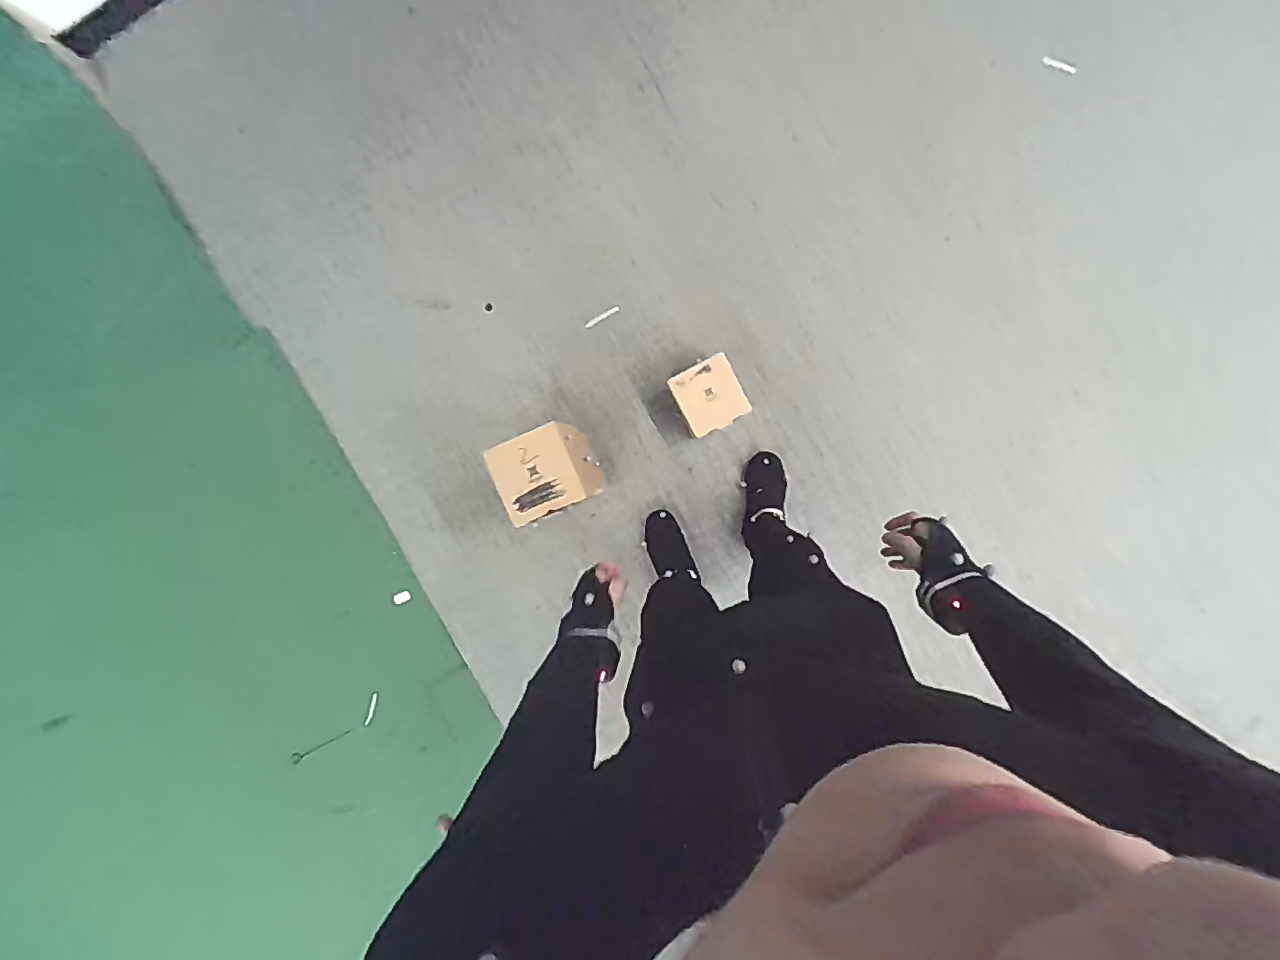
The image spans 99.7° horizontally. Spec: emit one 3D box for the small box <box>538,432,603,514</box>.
[{"bbox_3d":[-0.213,-0.024,1.506,0.168,0.176,0.179,-24,91,3],"label":"small box"}]

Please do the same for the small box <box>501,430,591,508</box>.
[{"bbox_3d":[-0.229,-0.031,1.351,0.179,0.176,0.168,8,95,2],"label":"small box"}]

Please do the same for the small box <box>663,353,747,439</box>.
[{"bbox_3d":[0.174,-0.224,1.480,0.168,0.176,0.179,-26,93,3],"label":"small box"}]
